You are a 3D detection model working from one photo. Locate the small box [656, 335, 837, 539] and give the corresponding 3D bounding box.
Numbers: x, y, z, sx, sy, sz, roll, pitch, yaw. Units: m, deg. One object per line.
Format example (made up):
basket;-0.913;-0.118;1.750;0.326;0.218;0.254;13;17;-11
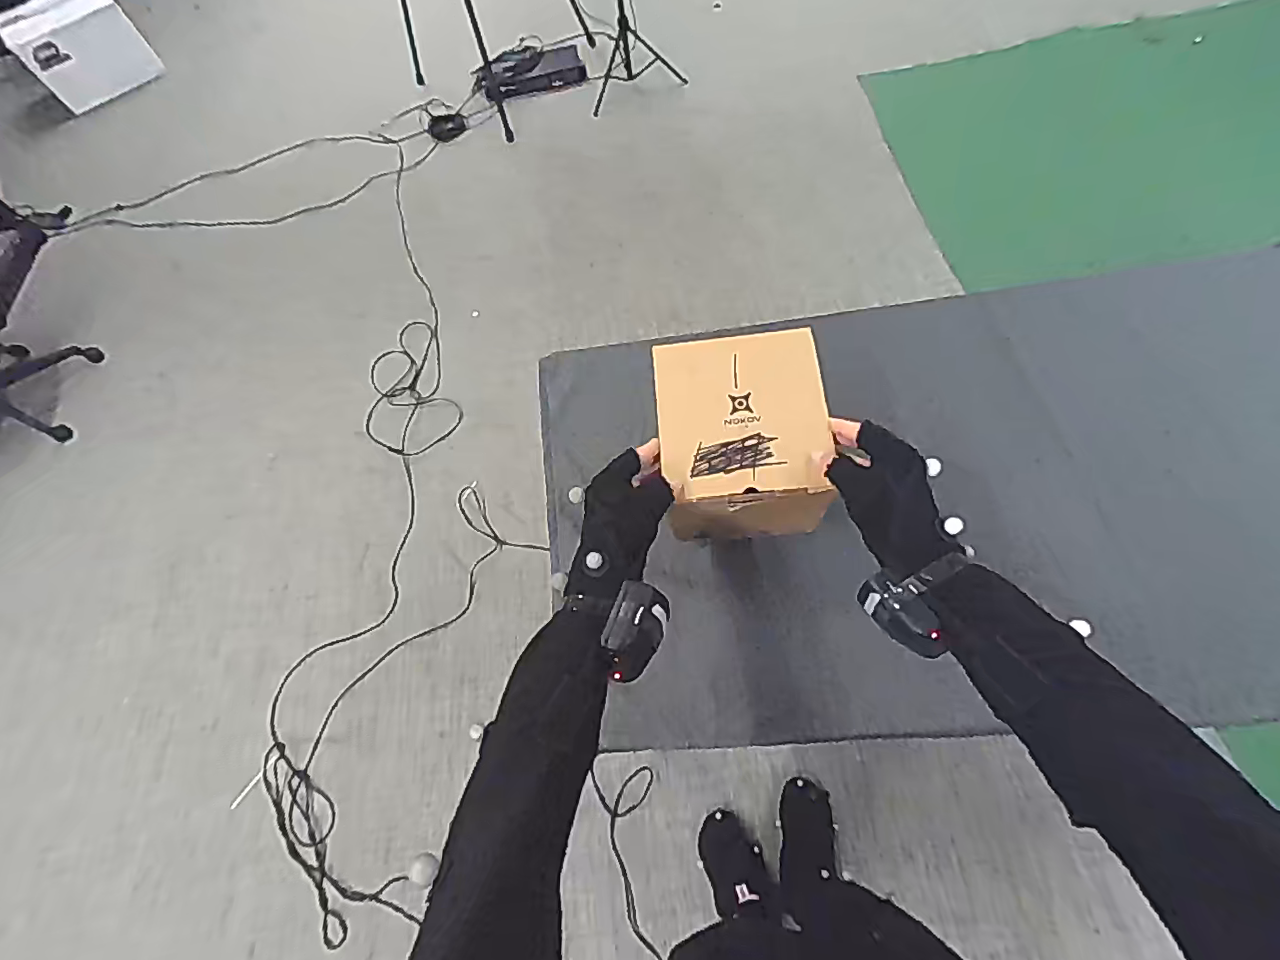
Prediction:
small box;0.113;-0.036;0.614;0.168;0.176;0.179;-6;69;6
